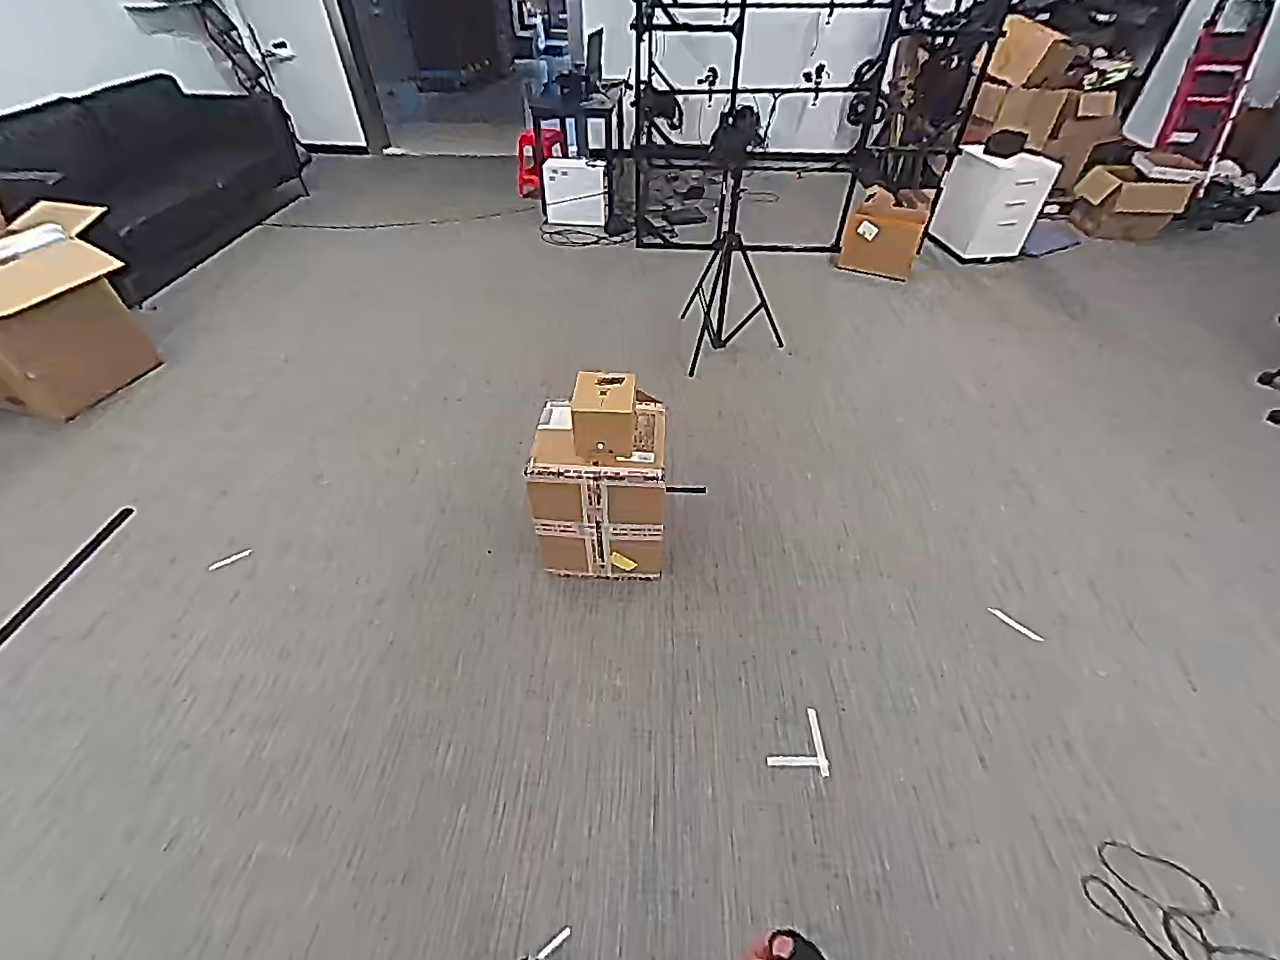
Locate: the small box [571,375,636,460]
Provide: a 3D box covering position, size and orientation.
[{"bbox_3d":[-0.098,-0.178,1.540,0.168,0.176,0.179,2,47,2],"label":"small box"}]
